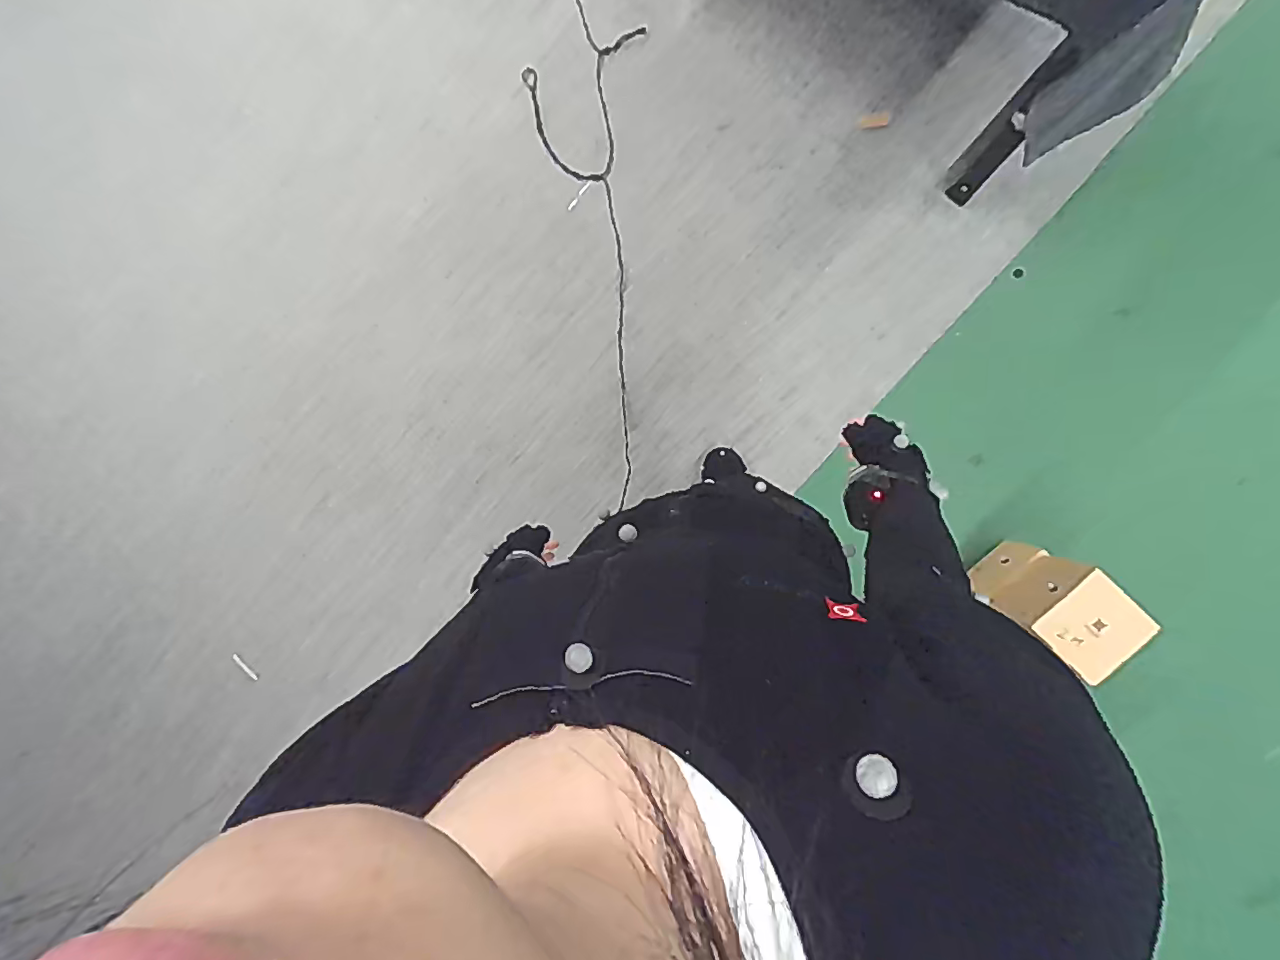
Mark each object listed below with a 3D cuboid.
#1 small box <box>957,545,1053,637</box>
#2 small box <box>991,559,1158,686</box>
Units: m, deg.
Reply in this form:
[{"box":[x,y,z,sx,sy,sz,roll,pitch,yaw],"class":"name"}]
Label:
[{"box":[0.912,0.271,1.297,0.168,0.176,0.179,-44,86,5],"class":"small box"},{"box":[0.893,0.286,1.134,0.179,0.176,0.168,-45,85,5],"class":"small box"}]
